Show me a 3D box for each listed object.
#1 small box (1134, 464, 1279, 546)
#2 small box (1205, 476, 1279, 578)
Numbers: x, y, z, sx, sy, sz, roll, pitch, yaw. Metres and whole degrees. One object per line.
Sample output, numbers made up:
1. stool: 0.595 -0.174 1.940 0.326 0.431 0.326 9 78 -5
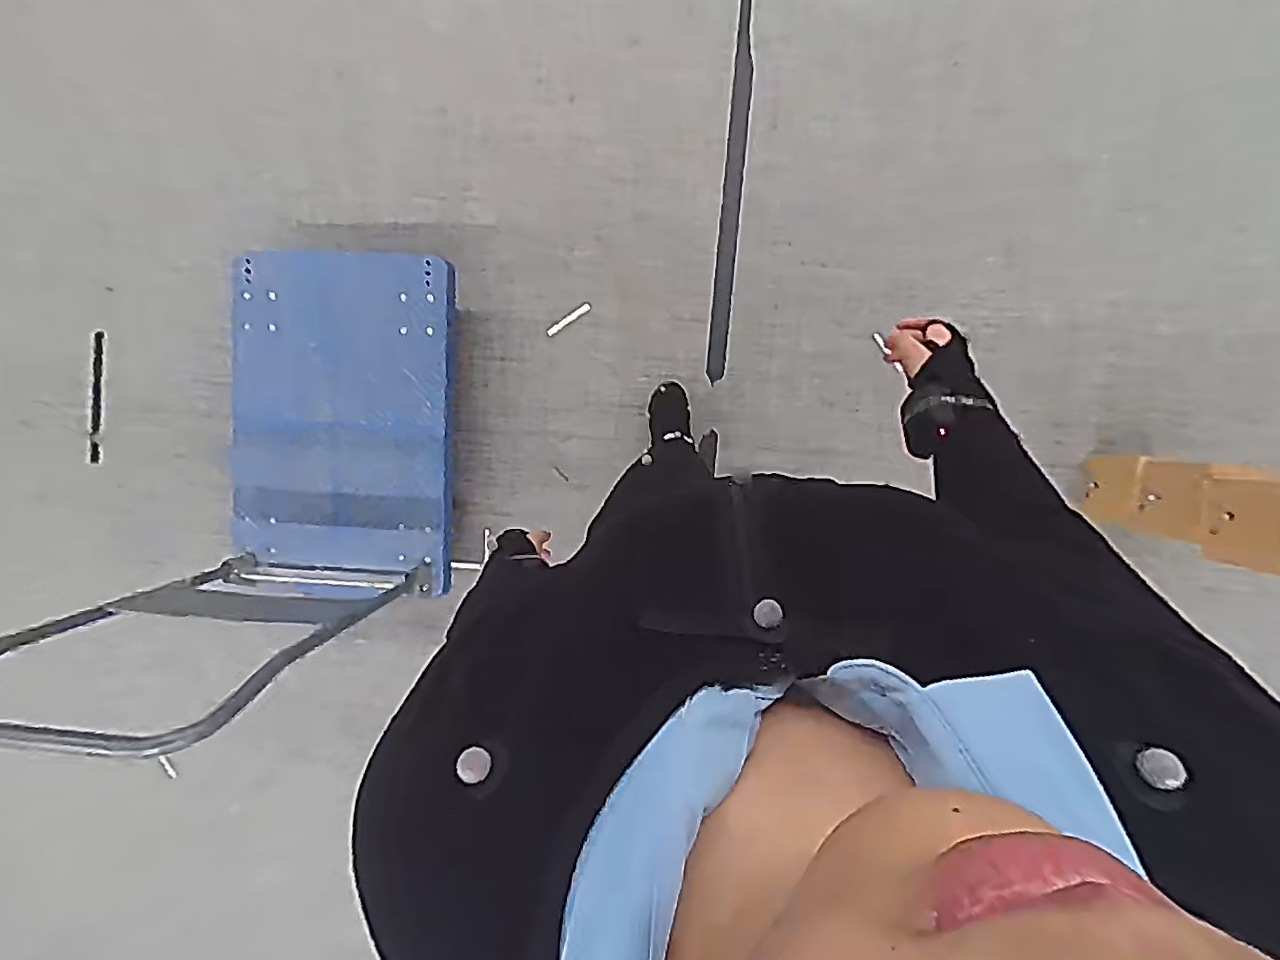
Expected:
1. small box: 1.215 0.058 1.141 0.179 0.176 0.168 8 93 6
2. small box: 1.199 0.081 0.980 0.179 0.176 0.168 -3 93 6
